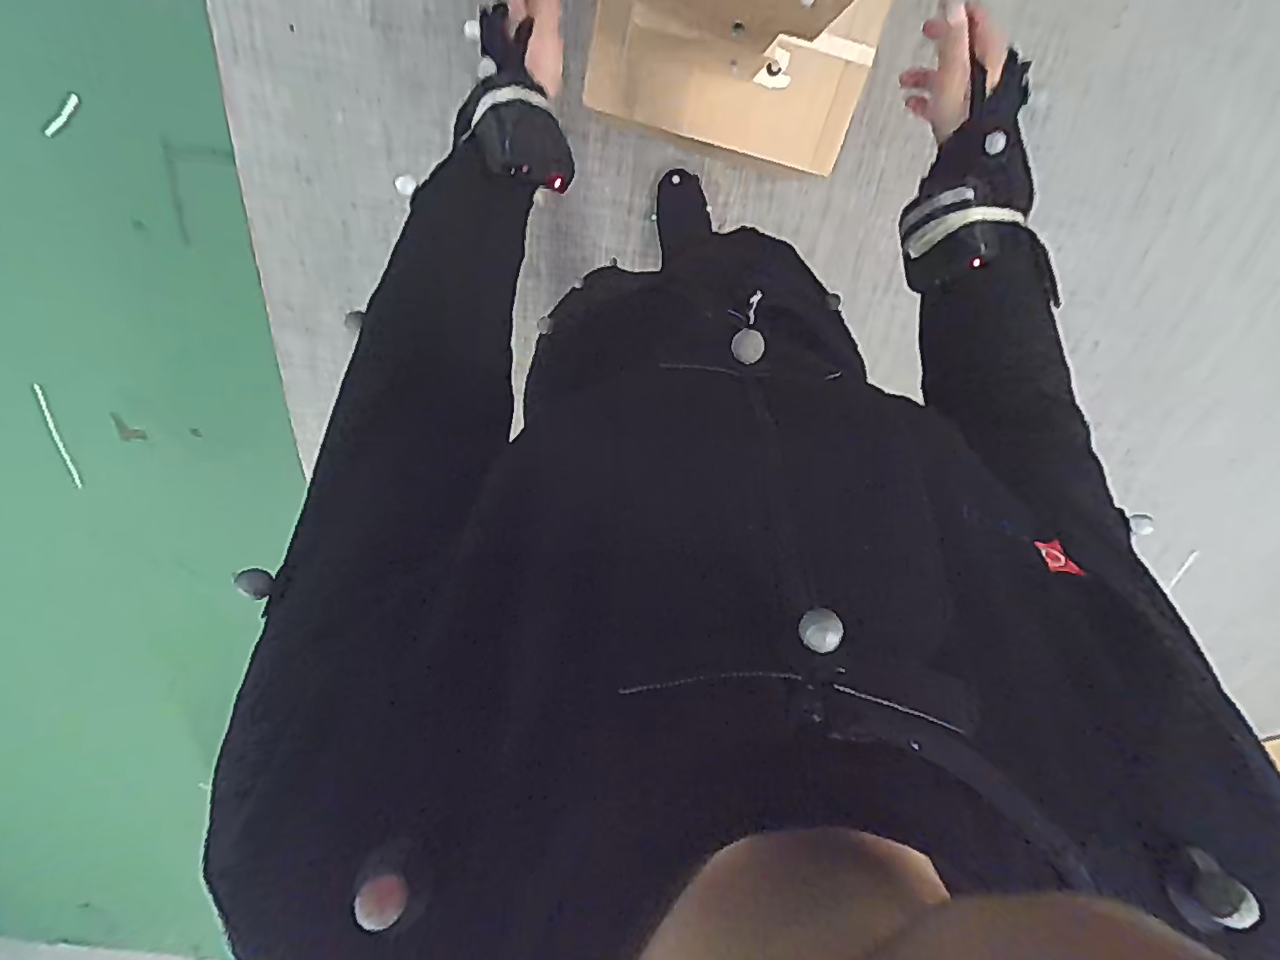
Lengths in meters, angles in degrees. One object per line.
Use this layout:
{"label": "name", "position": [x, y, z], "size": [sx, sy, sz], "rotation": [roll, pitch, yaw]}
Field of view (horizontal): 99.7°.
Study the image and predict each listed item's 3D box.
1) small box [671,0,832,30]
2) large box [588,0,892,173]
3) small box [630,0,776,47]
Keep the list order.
{"label": "small box", "position": [0.089, -0.462, 0.390], "size": [0.179, 0.176, 0.168], "rotation": [10, 117, -5]}
{"label": "large box", "position": [0.146, -0.727, 0.892], "size": [0.408, 0.320, 0.320], "rotation": [12, 119, -5]}
{"label": "small box", "position": [0.084, -0.557, 0.524], "size": [0.179, 0.176, 0.168], "rotation": [17, 117, -6]}
